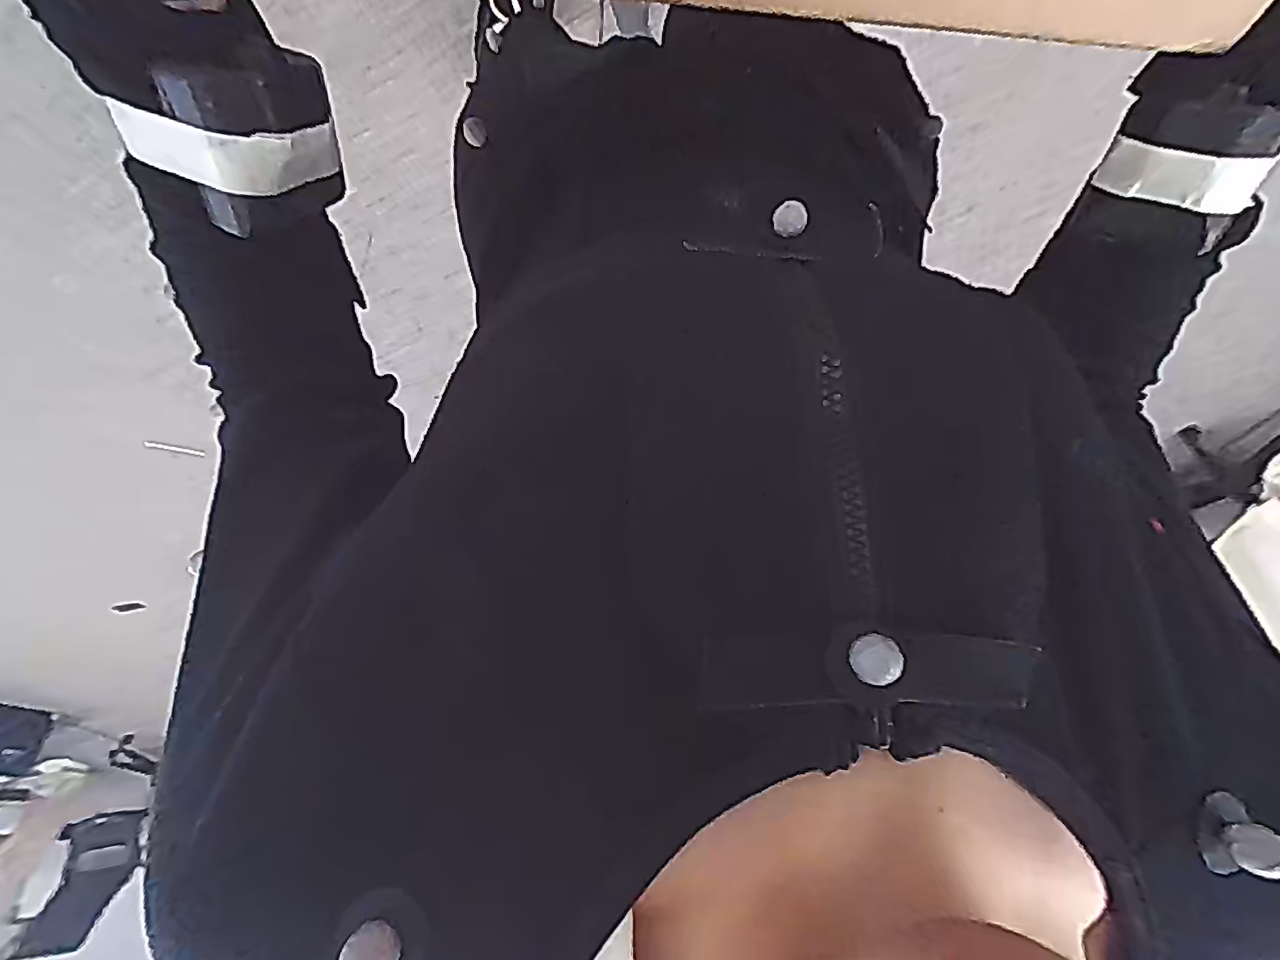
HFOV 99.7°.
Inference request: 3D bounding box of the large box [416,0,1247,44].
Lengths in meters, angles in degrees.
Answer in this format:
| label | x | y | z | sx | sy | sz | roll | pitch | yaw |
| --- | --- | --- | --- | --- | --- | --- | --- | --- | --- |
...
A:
| label | x | y | z | sx | sy | sz | roll | pitch | yaw |
| --- | --- | --- | --- | --- | --- | --- | --- | --- | --- |
| large box | 0.051 | -0.394 | 0.178 | 0.408 | 0.320 | 0.320 | -1 | 146 | -6 |
